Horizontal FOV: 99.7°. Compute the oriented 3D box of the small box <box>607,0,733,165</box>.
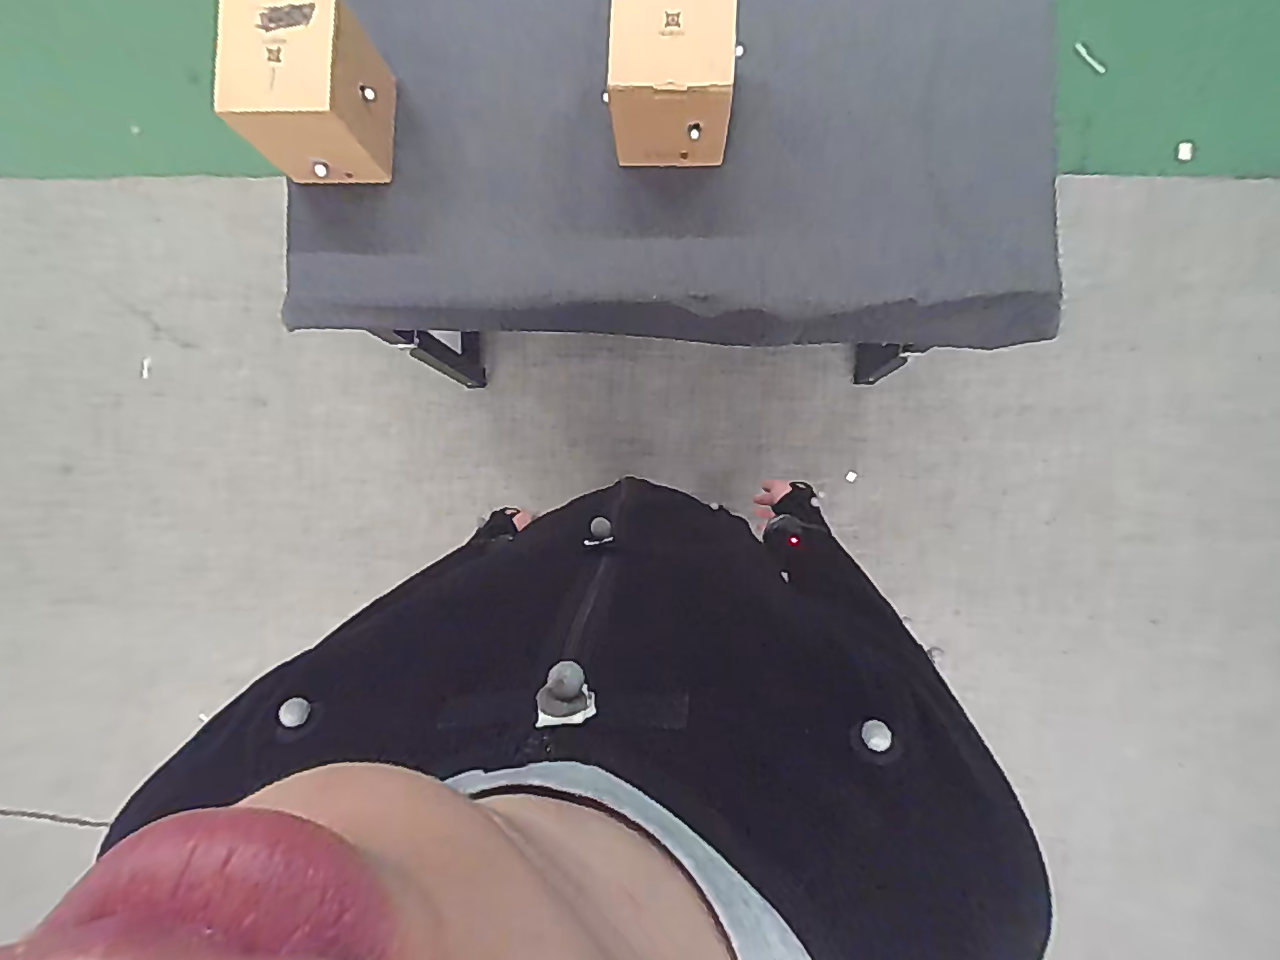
[{"bbox_3d":[0.045,-0.592,0.793,0.168,0.176,0.179,1,87,2],"label":"small box"}]

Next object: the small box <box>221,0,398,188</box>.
[{"bbox_3d":[-0.485,-0.576,0.818,0.168,0.176,0.179,1,89,3],"label":"small box"}]
